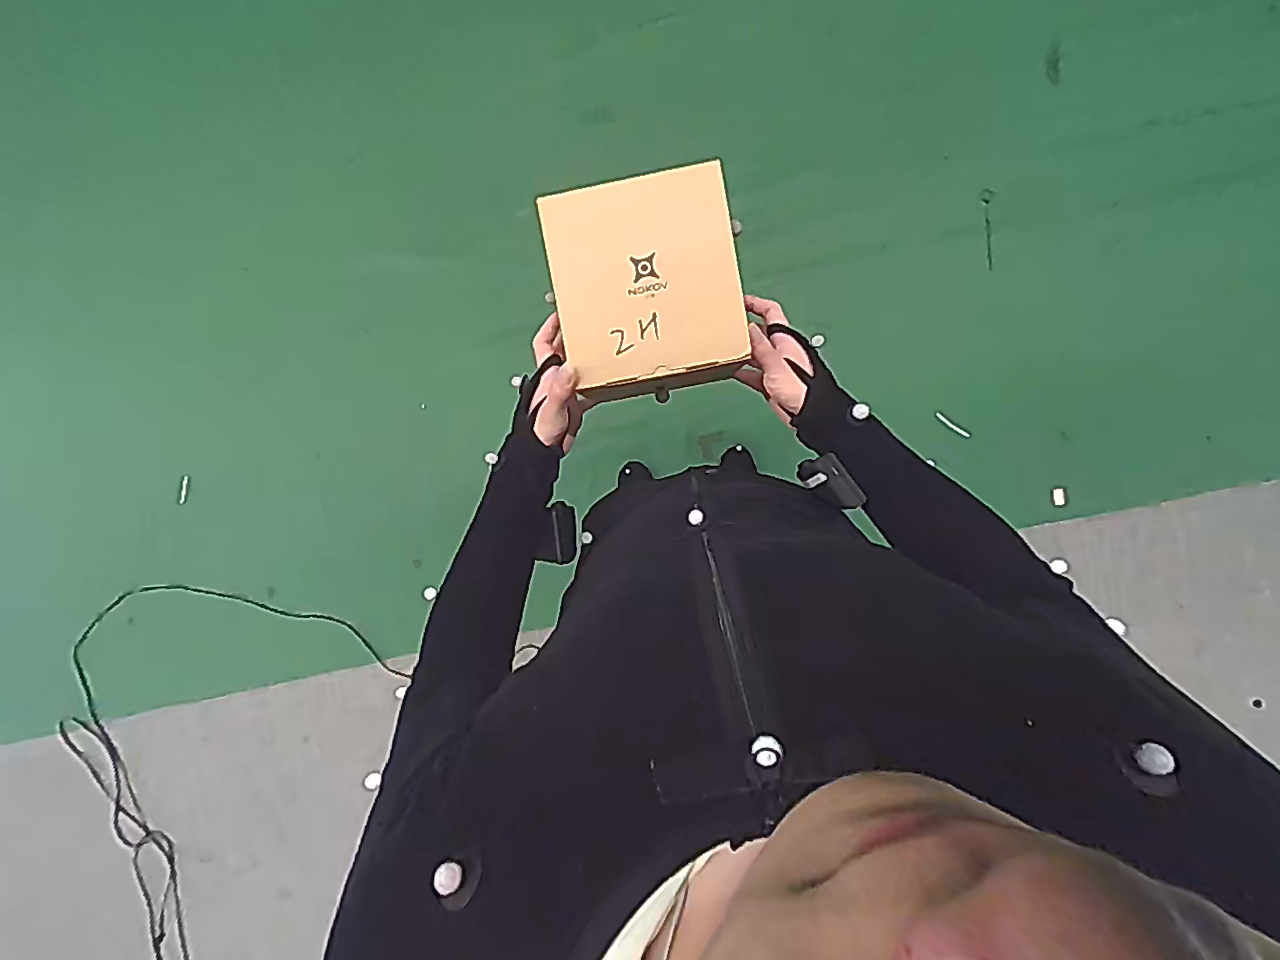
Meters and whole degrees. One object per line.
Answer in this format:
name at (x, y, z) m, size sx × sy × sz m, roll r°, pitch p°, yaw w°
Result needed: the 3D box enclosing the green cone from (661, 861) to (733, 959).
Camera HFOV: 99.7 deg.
green cone at (0.170, 1.319, 1.540) m, size 0.202 × 0.368 × 0.200 m, roll -13°, pitch 92°, yaw 5°
